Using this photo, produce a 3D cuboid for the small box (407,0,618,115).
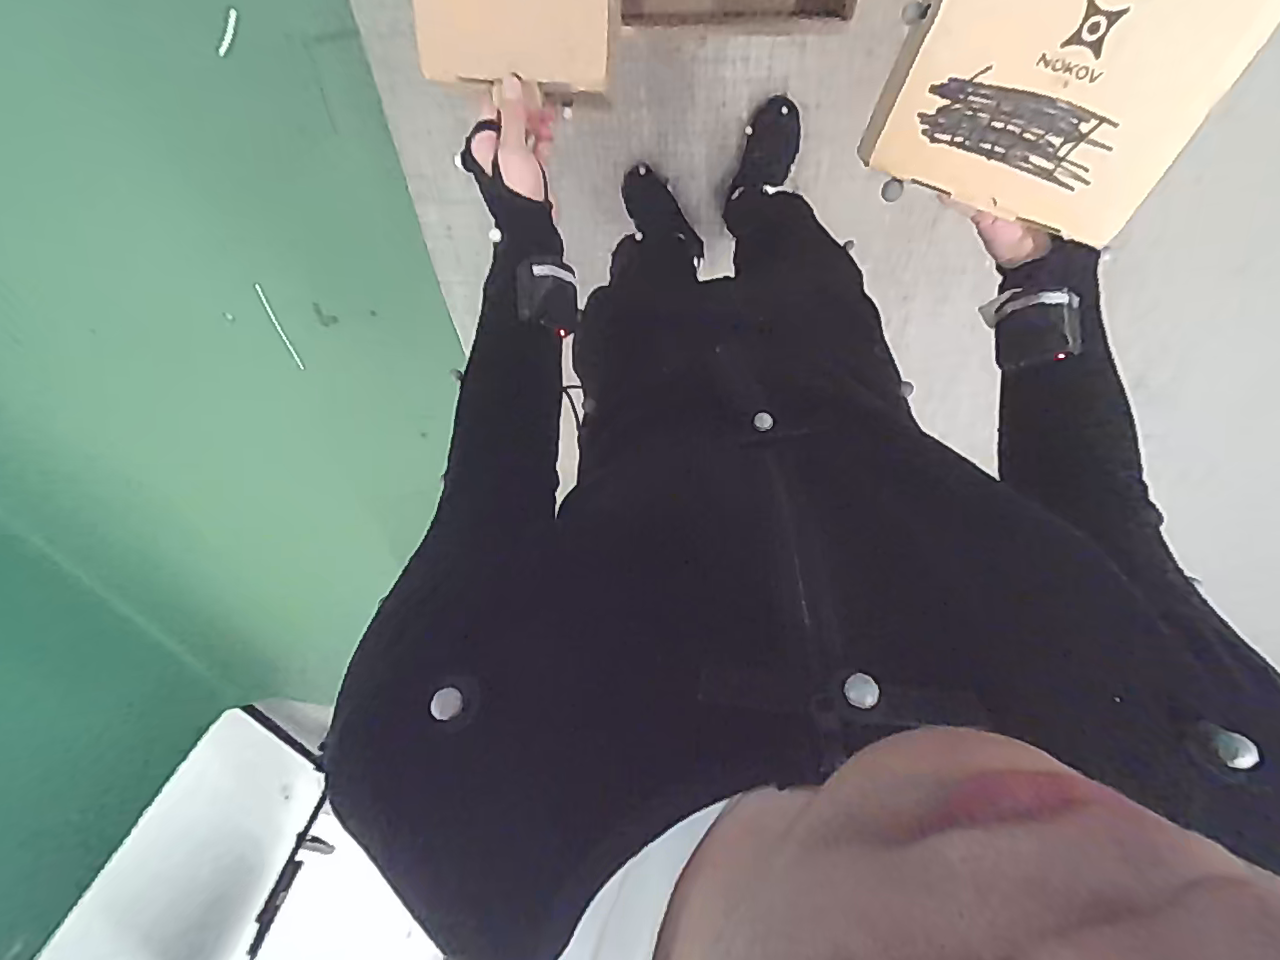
[{"bbox_3d":[-0.108,-0.461,0.510,0.168,0.176,0.179,4,116,0],"label":"small box"}]
